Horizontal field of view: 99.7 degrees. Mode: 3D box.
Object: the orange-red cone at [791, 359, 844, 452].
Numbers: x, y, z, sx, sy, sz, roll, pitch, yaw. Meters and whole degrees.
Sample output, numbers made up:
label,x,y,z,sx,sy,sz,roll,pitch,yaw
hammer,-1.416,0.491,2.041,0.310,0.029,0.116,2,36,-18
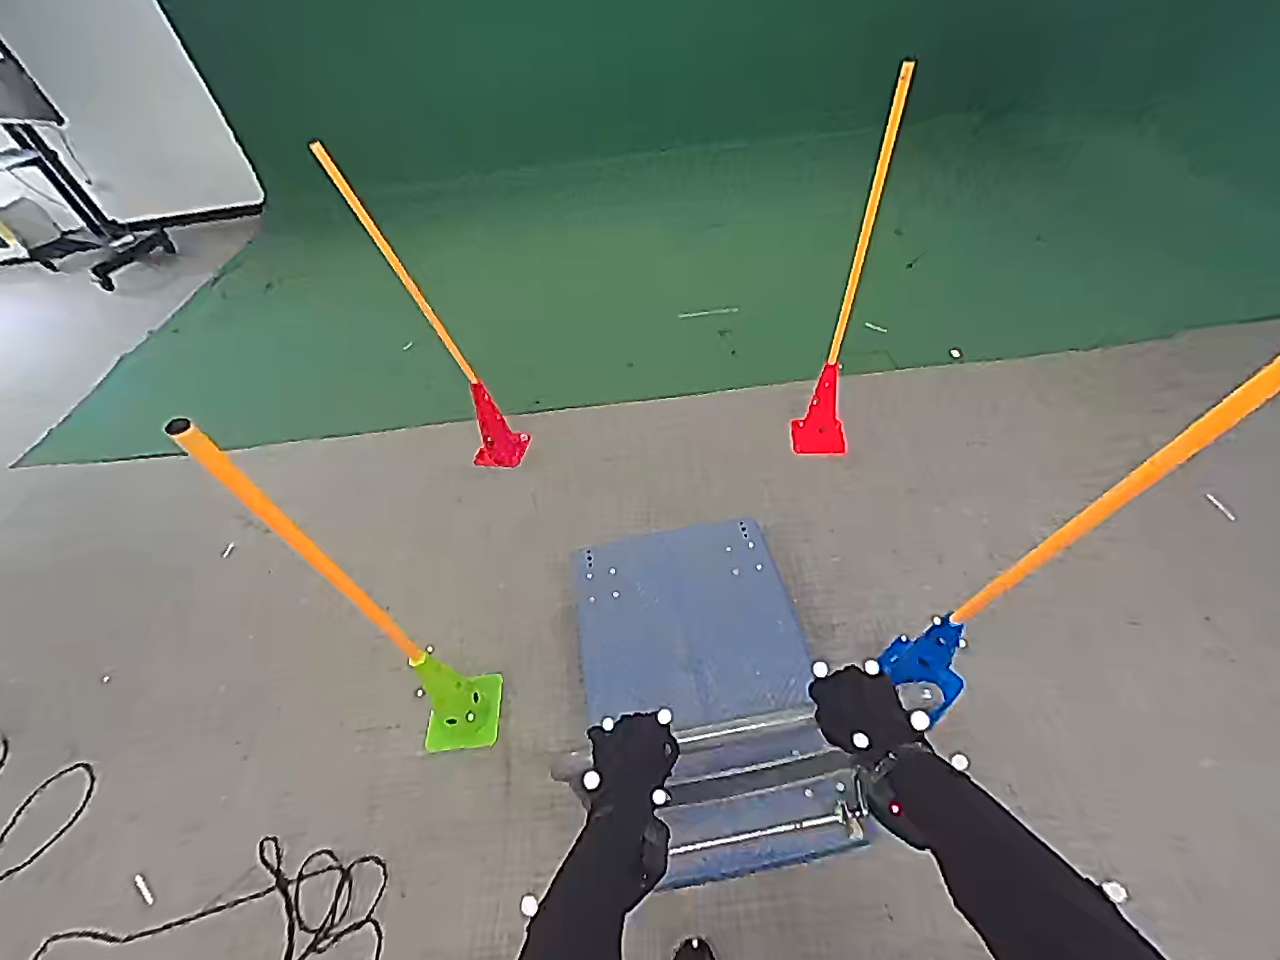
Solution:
label,x,y,z,sx,sy,sz,roll,pitch,yaw
orange-red cone,0.681,-0.294,2.016,0.198,0.360,0.199,2,49,10
